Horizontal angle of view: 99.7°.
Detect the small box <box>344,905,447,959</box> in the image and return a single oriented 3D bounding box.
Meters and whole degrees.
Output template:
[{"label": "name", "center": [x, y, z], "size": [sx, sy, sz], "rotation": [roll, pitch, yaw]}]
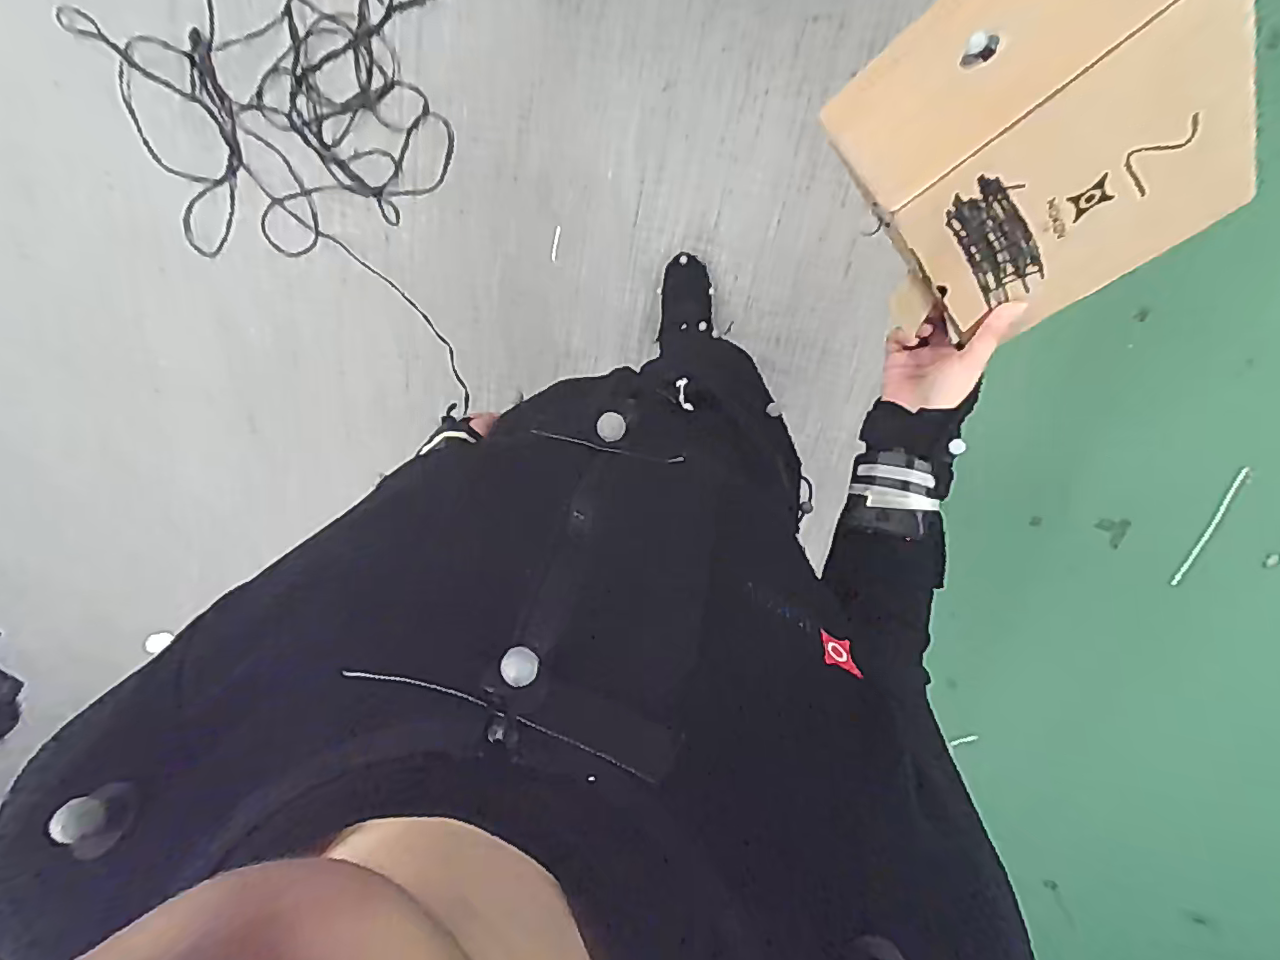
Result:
[{"label": "small box", "center": [-0.489, 0.980, 1.052], "size": [0.168, 0.176, 0.179], "rotation": [11, 110, 3]}]
